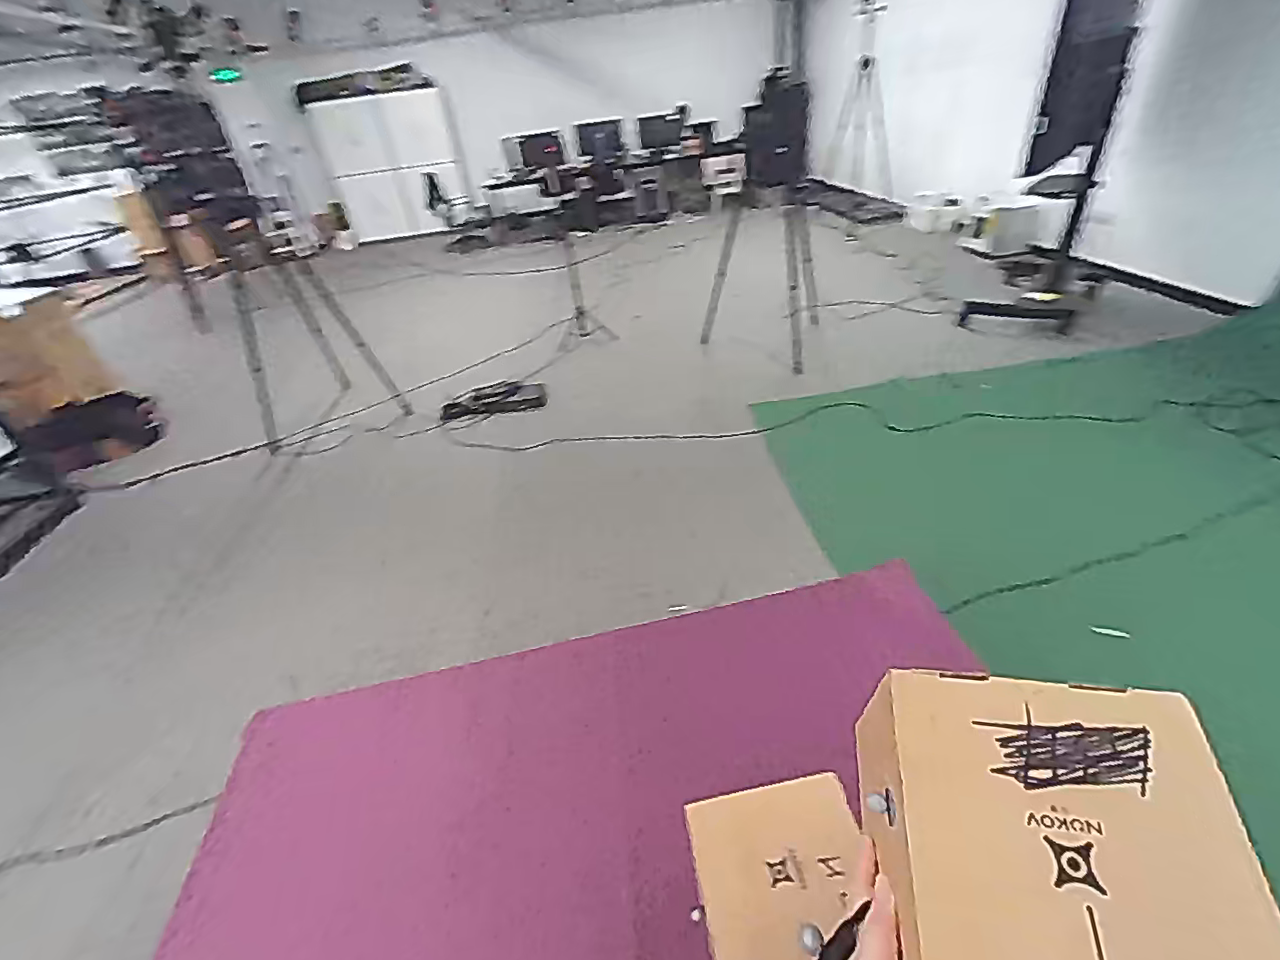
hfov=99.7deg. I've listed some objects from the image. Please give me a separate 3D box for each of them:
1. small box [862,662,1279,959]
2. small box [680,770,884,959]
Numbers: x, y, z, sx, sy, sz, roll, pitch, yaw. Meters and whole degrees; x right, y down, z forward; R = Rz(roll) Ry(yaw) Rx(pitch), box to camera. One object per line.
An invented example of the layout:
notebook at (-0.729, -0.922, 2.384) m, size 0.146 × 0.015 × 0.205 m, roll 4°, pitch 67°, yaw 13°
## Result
small box at (0.245, 0.238, 0.349) m, size 0.168 × 0.176 × 0.179 m, roll 1°, pitch 55°, yaw 15°
small box at (0.151, 0.452, 0.584) m, size 0.179 × 0.176 × 0.168 m, roll -11°, pitch 36°, yaw -3°
